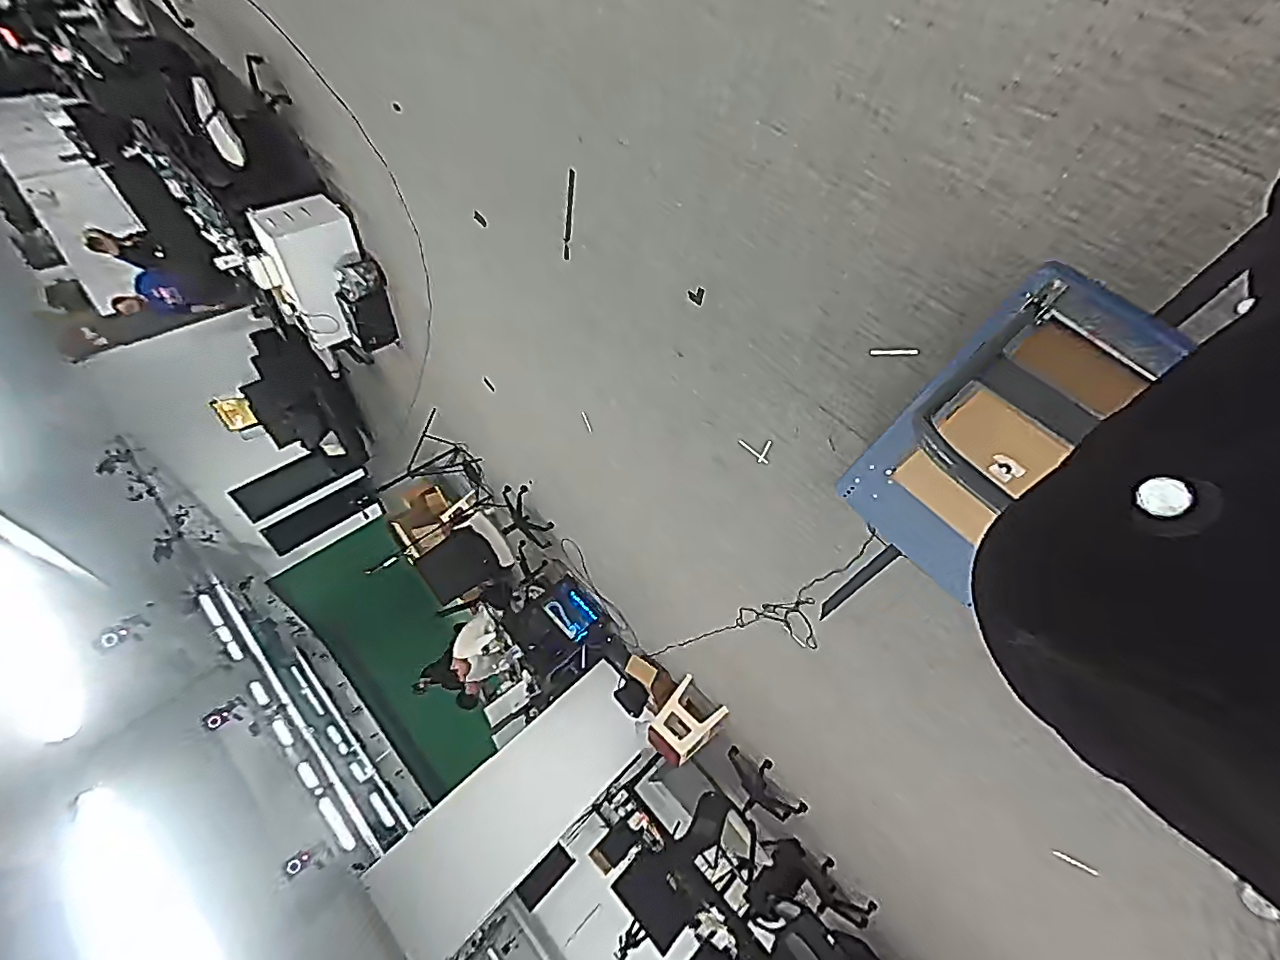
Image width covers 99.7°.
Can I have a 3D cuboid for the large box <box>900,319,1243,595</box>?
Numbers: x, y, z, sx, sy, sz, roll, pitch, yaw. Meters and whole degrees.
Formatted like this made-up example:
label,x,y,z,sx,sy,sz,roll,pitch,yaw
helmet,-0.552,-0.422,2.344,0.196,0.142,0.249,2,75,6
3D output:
label,x,y,z,sx,sy,sz,roll,pitch,yaw
large box,0.852,-0.050,1.107,0.408,0.320,0.320,46,149,17
